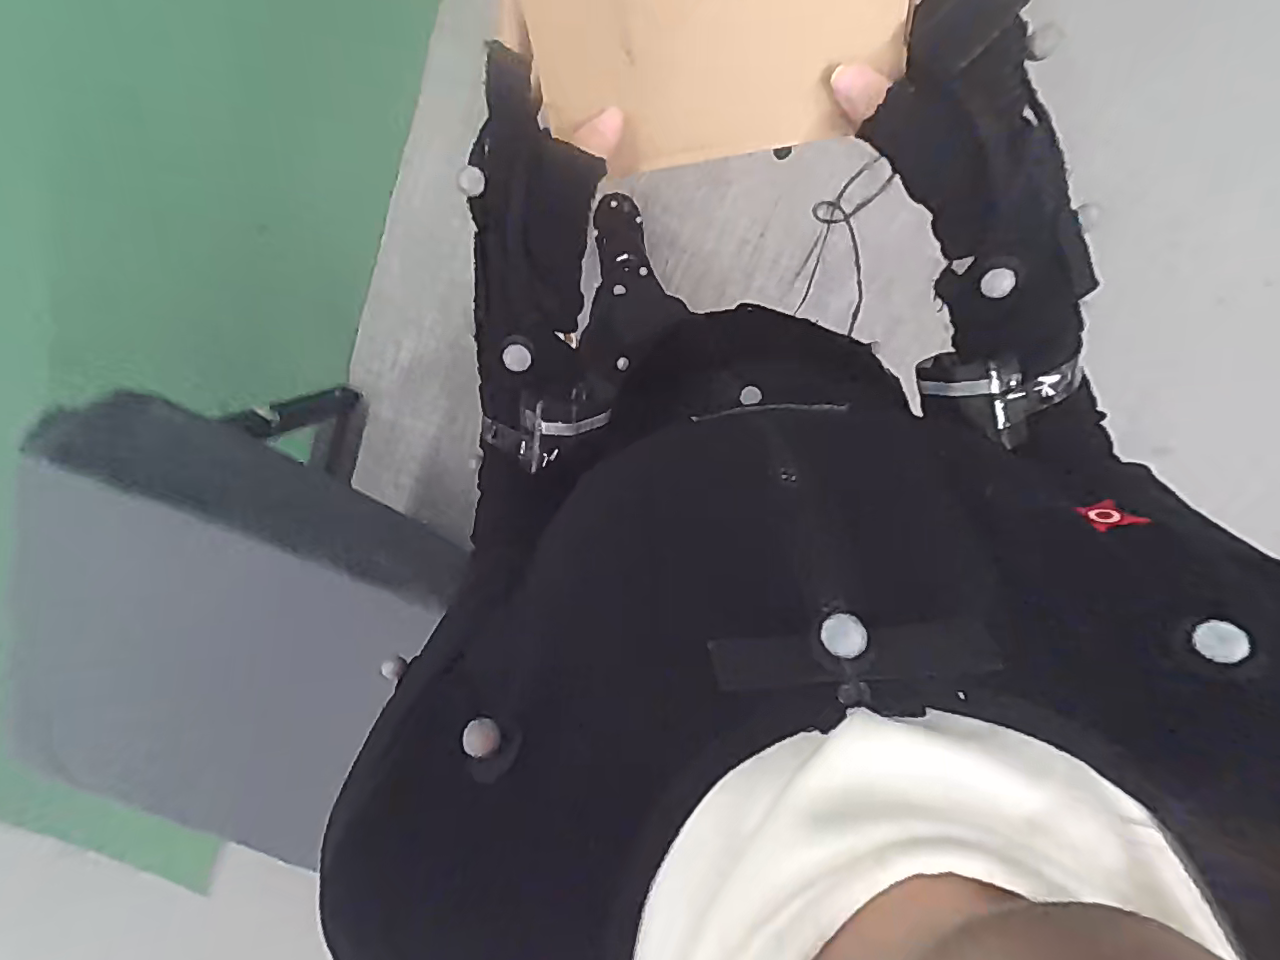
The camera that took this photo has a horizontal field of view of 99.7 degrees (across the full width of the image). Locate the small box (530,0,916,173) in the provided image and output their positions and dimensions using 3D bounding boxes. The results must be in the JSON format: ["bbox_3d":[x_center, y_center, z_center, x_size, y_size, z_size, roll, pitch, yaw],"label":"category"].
[{"bbox_3d":[0.036,-0.286,0.296,0.179,0.176,0.168,-6,126,8],"label":"small box"}]
